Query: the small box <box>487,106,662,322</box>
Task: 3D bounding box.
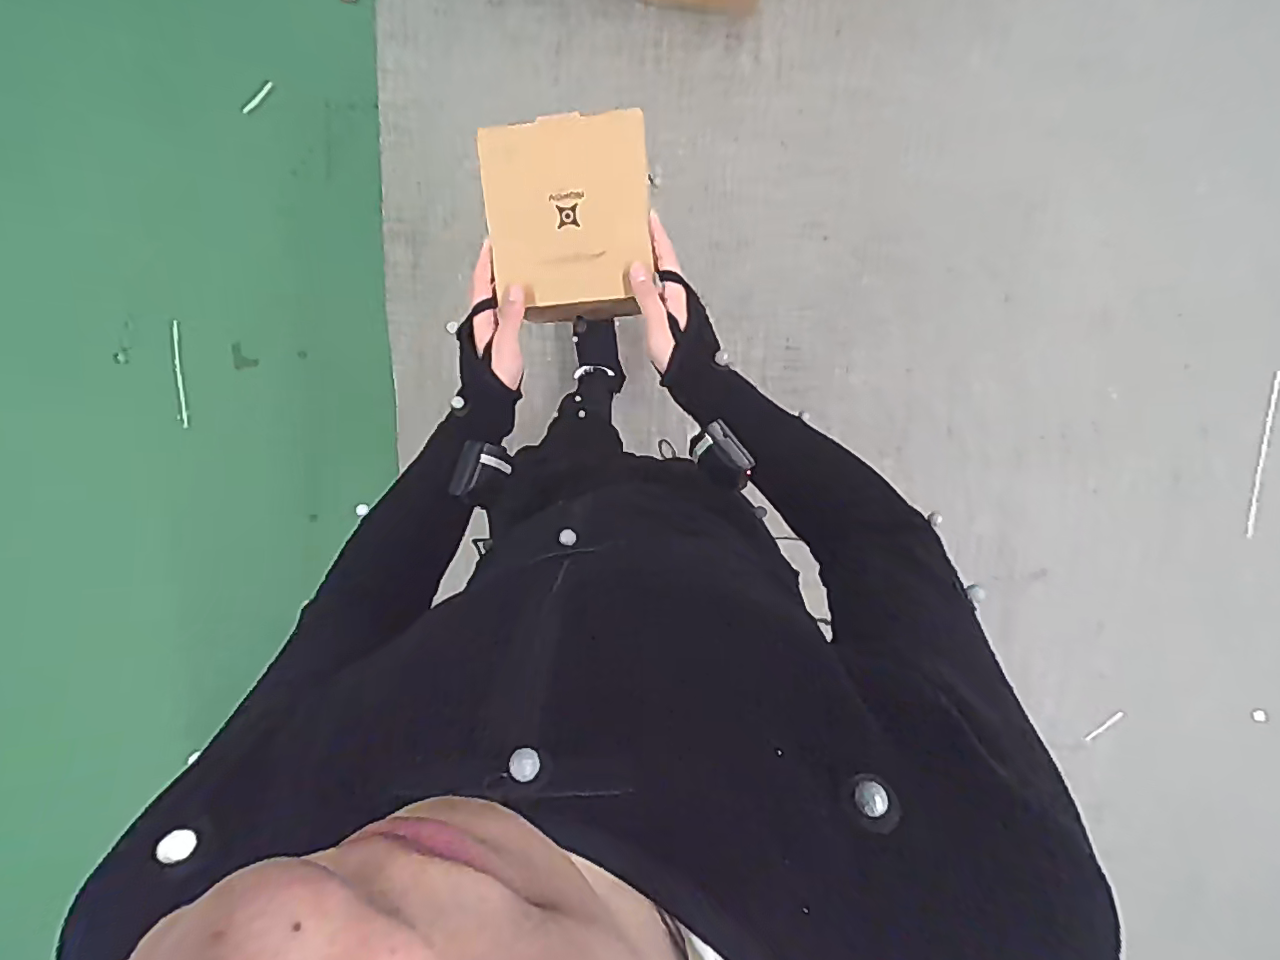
[{"bbox_3d":[-0.061,-0.283,0.615,0.168,0.176,0.179,-3,100,4],"label":"small box"}]
